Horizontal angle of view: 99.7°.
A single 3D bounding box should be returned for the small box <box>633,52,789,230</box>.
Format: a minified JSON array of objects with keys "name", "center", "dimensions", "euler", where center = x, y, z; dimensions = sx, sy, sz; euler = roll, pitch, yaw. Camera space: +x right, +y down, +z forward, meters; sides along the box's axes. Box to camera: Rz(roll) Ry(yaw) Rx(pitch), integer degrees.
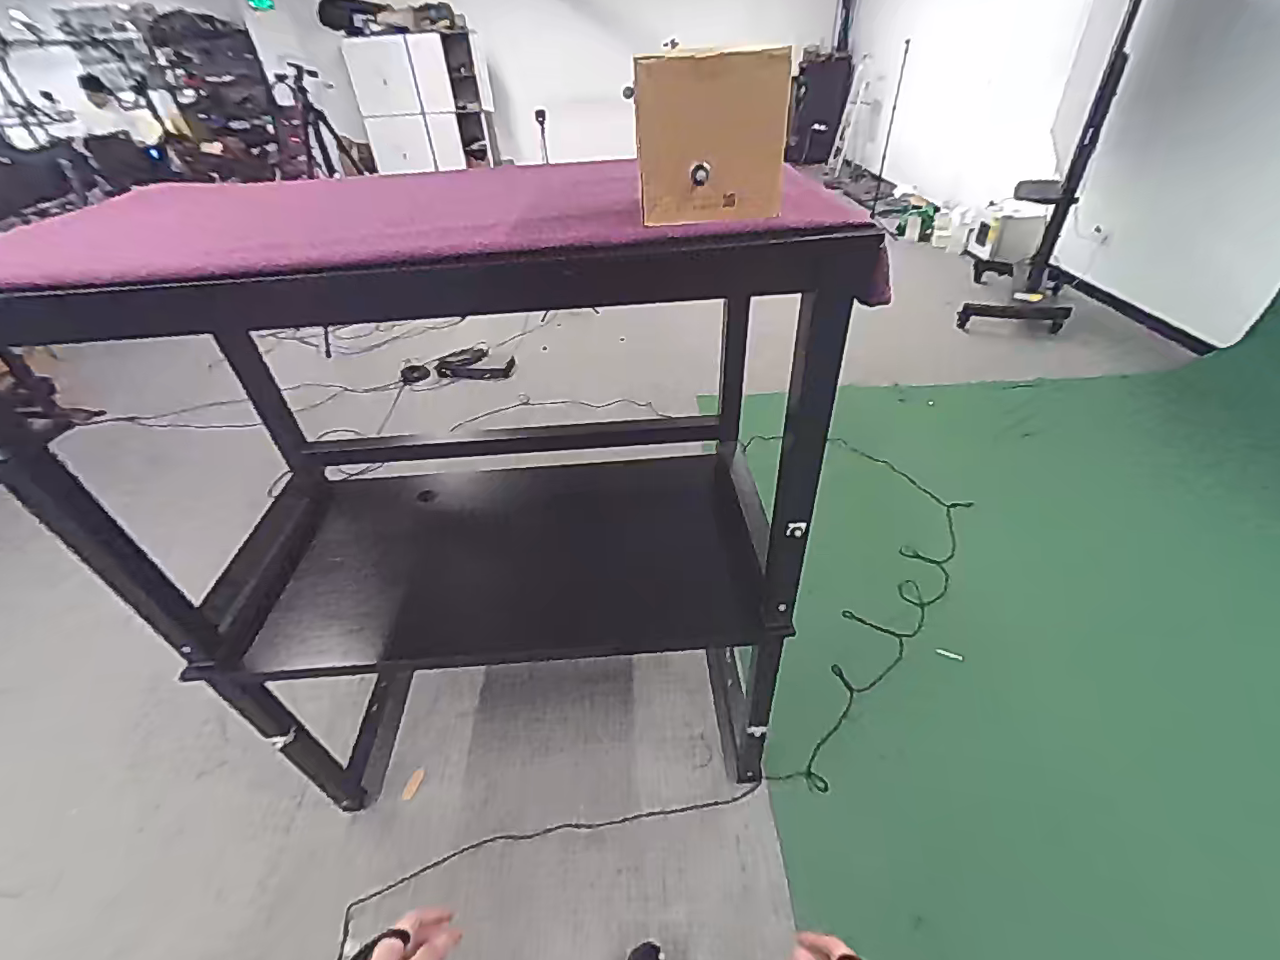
[{"name":"small box","center":[0.077,-0.423,0.677],"dimensions":[0.168,0.176,0.179],"euler":[-4,40,1]}]
